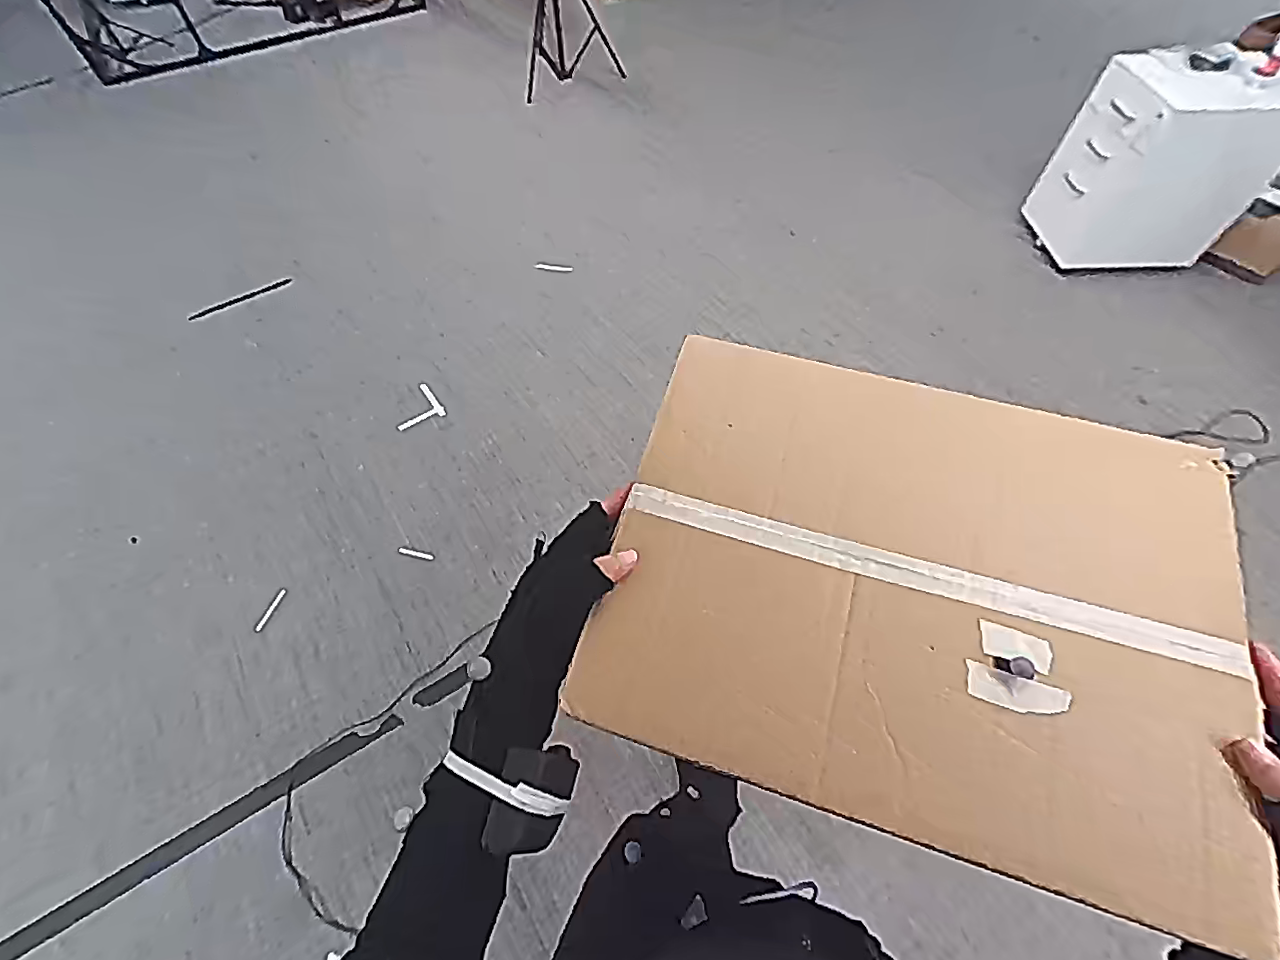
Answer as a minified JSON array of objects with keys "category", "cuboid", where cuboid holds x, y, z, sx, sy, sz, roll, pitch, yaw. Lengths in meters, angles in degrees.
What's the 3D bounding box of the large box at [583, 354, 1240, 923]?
[{"category":"large box","cuboid":[0.198,0.128,0.525,0.408,0.320,0.320,15,69,10]}]
